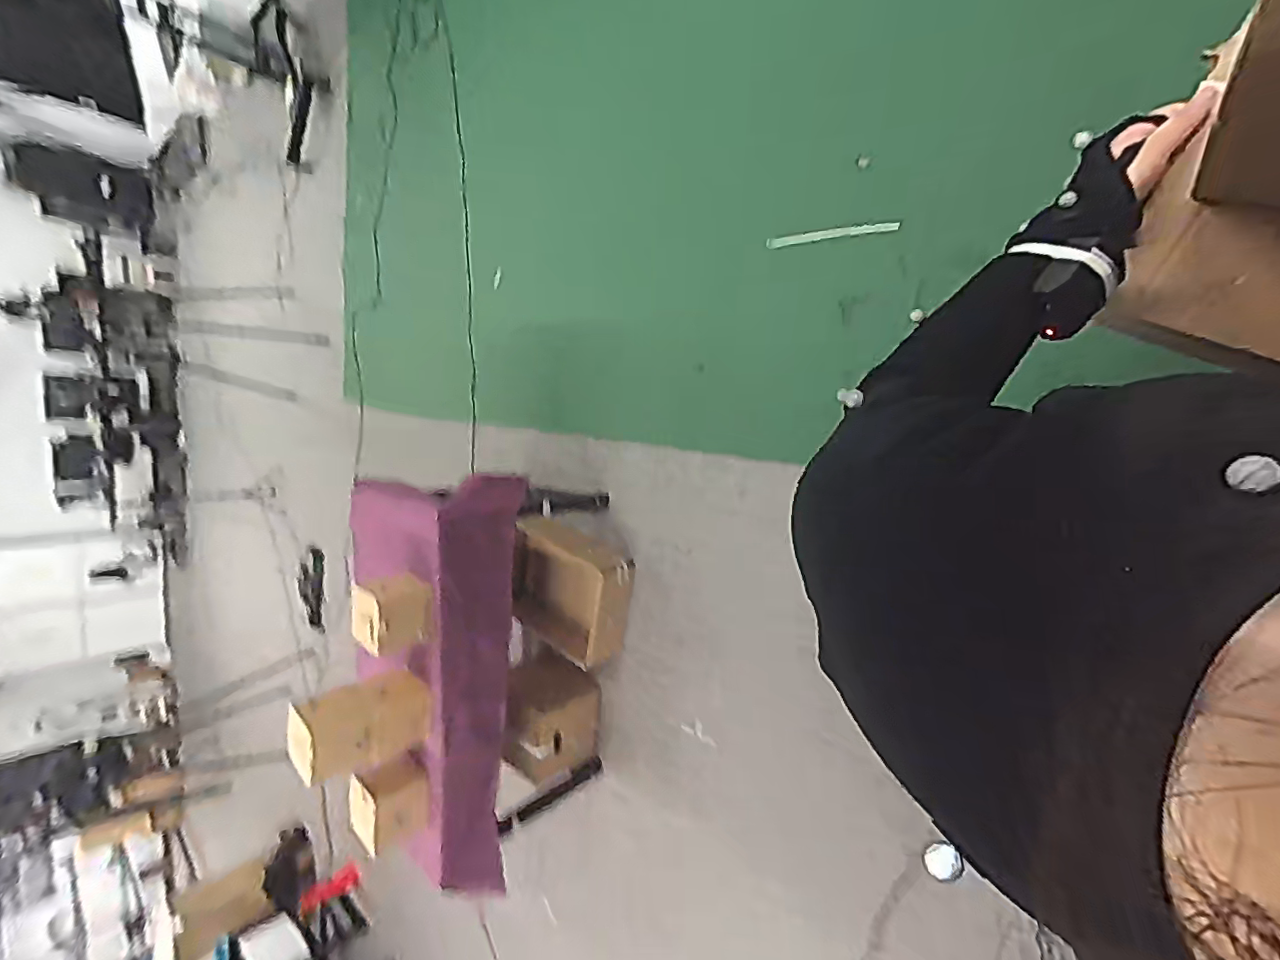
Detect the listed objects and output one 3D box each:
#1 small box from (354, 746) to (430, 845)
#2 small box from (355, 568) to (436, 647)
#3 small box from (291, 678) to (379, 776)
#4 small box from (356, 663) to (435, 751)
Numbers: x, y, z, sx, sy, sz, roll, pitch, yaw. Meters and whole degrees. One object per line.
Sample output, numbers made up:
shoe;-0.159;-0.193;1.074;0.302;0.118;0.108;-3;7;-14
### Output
small box;-0.778;0.980;1.699;0.168;0.176;0.179;11;101;39
small box;-0.725;0.370;1.610;0.179;0.176;0.168;12;101;40
small box;-0.869;0.692;1.542;0.179;0.176;0.168;19;106;38
small box;-0.757;0.686;1.662;0.179;0.176;0.168;17;104;38
